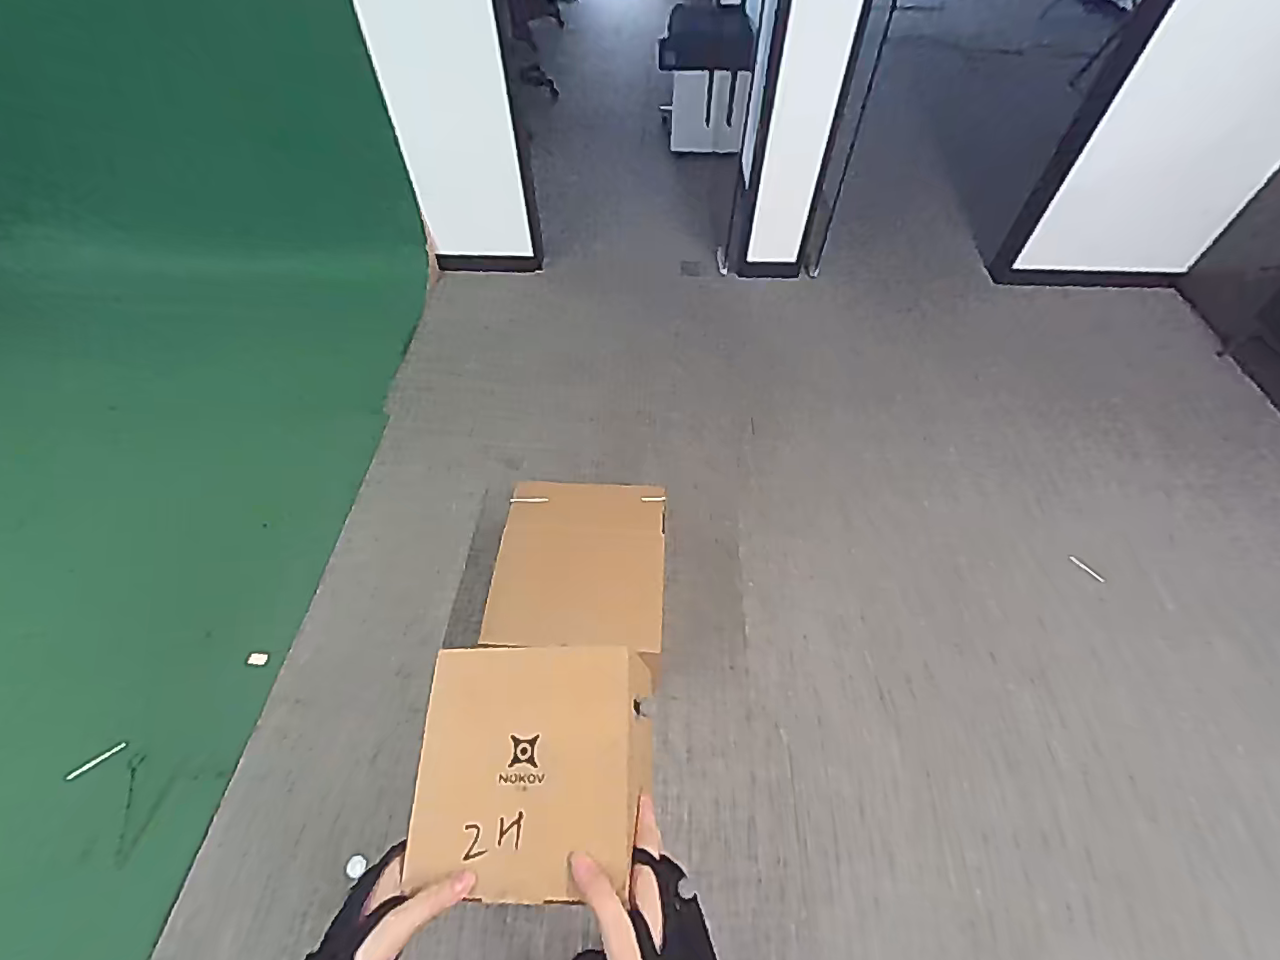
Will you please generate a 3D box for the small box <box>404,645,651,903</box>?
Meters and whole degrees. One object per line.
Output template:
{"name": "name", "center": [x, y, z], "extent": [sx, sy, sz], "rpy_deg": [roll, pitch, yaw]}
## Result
{"name": "small box", "center": [-0.081, 0.256, 0.492], "extent": [0.168, 0.176, 0.179], "rpy_deg": [-3, 63, 7]}
